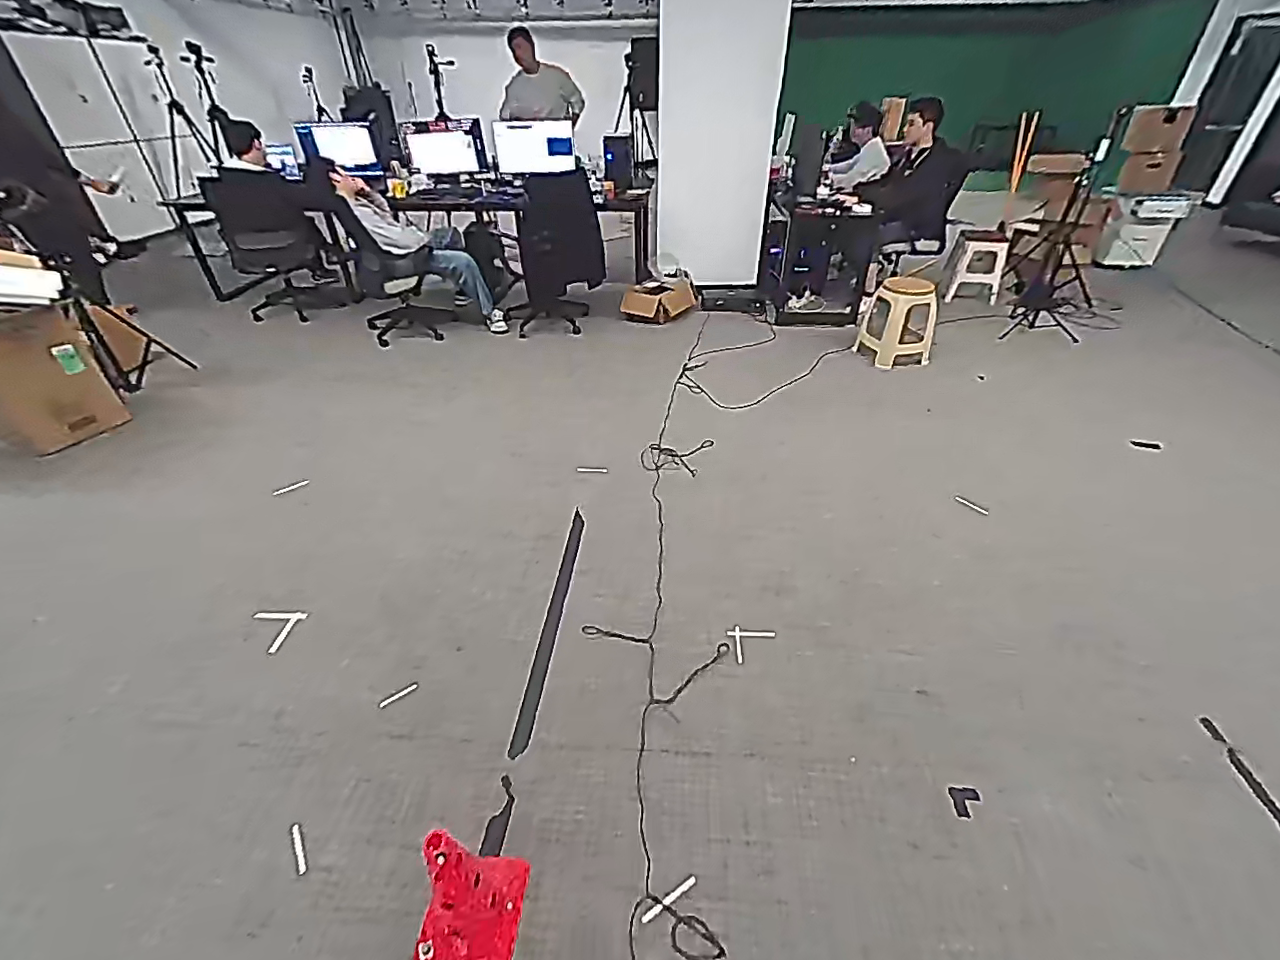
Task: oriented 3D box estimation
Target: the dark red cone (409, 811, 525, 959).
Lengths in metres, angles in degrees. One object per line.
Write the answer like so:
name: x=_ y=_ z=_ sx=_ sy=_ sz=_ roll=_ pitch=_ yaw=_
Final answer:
dark red cone: x=-0.353 y=0.749 z=1.035 sx=0.201 sy=0.394 sz=0.202 roll=3 pitch=36 yaw=3
